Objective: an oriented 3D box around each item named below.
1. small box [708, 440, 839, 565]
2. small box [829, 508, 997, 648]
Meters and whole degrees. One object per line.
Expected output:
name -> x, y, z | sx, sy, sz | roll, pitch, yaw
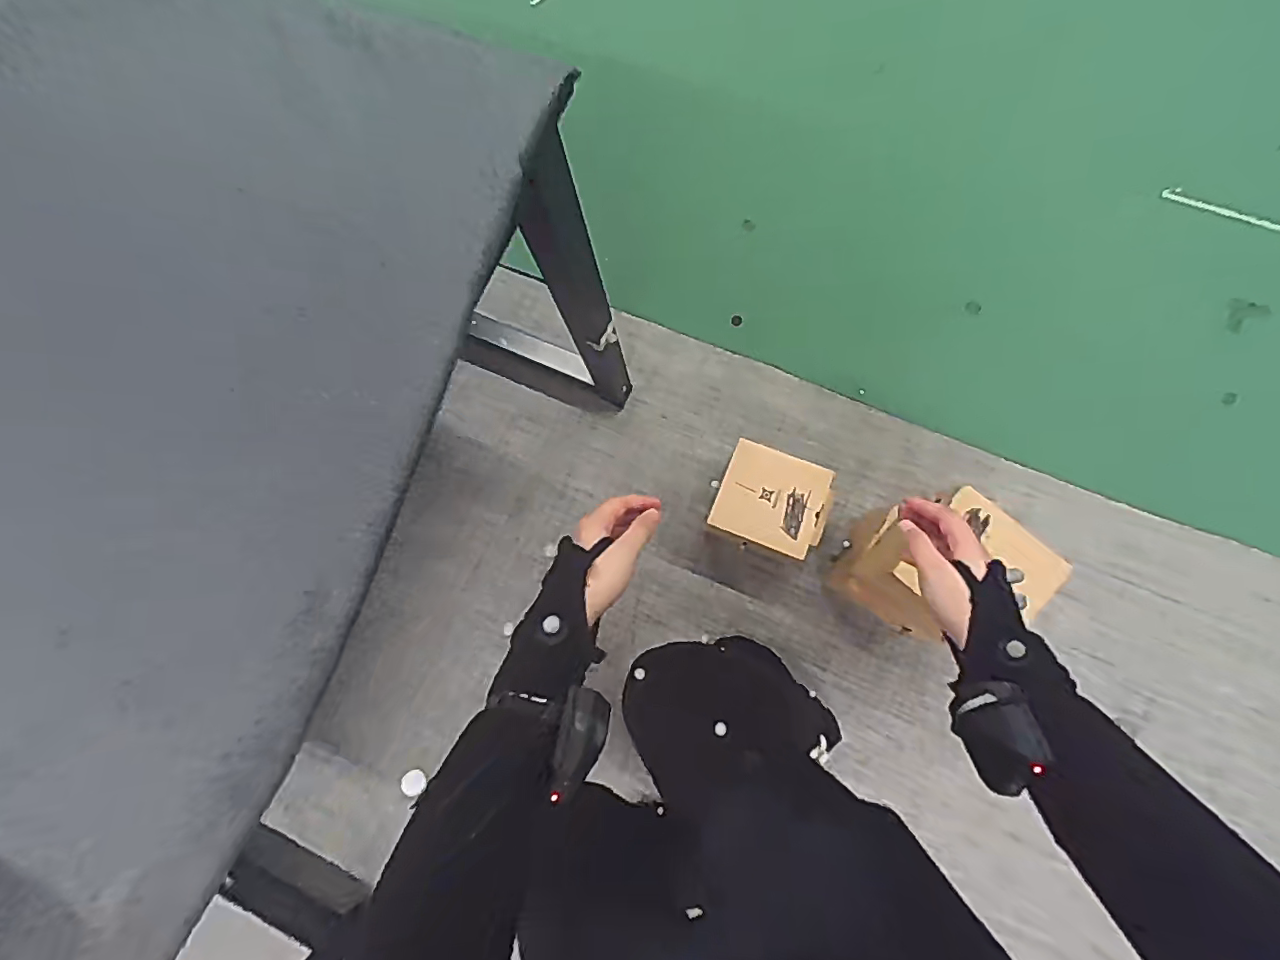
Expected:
small box -> 0.237, 0.047, 0.998 | 0.179, 0.176, 0.168 | 22, 83, 9
small box -> 0.469, 0.167, 0.957 | 0.179, 0.176, 0.168 | 32, 85, 8
